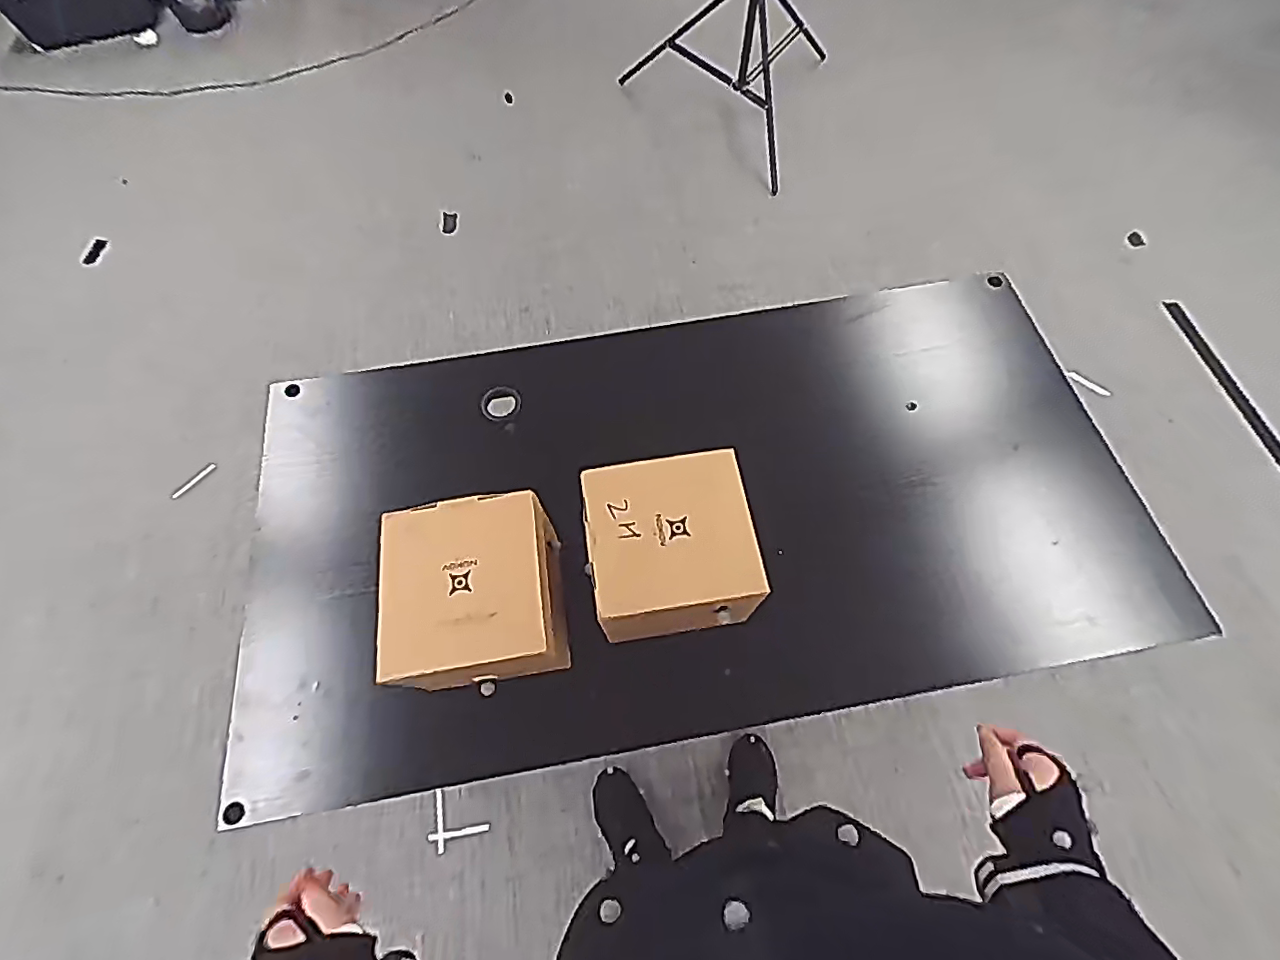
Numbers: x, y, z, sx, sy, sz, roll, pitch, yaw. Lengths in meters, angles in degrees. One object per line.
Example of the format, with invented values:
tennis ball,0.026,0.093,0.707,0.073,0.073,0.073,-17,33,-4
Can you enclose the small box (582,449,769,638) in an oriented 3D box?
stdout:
small box,0.033,0.082,0.634,0.179,0.176,0.168,-8,65,-2

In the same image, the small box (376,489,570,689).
small box,-0.180,0.131,0.619,0.168,0.176,0.179,-10,67,-2
